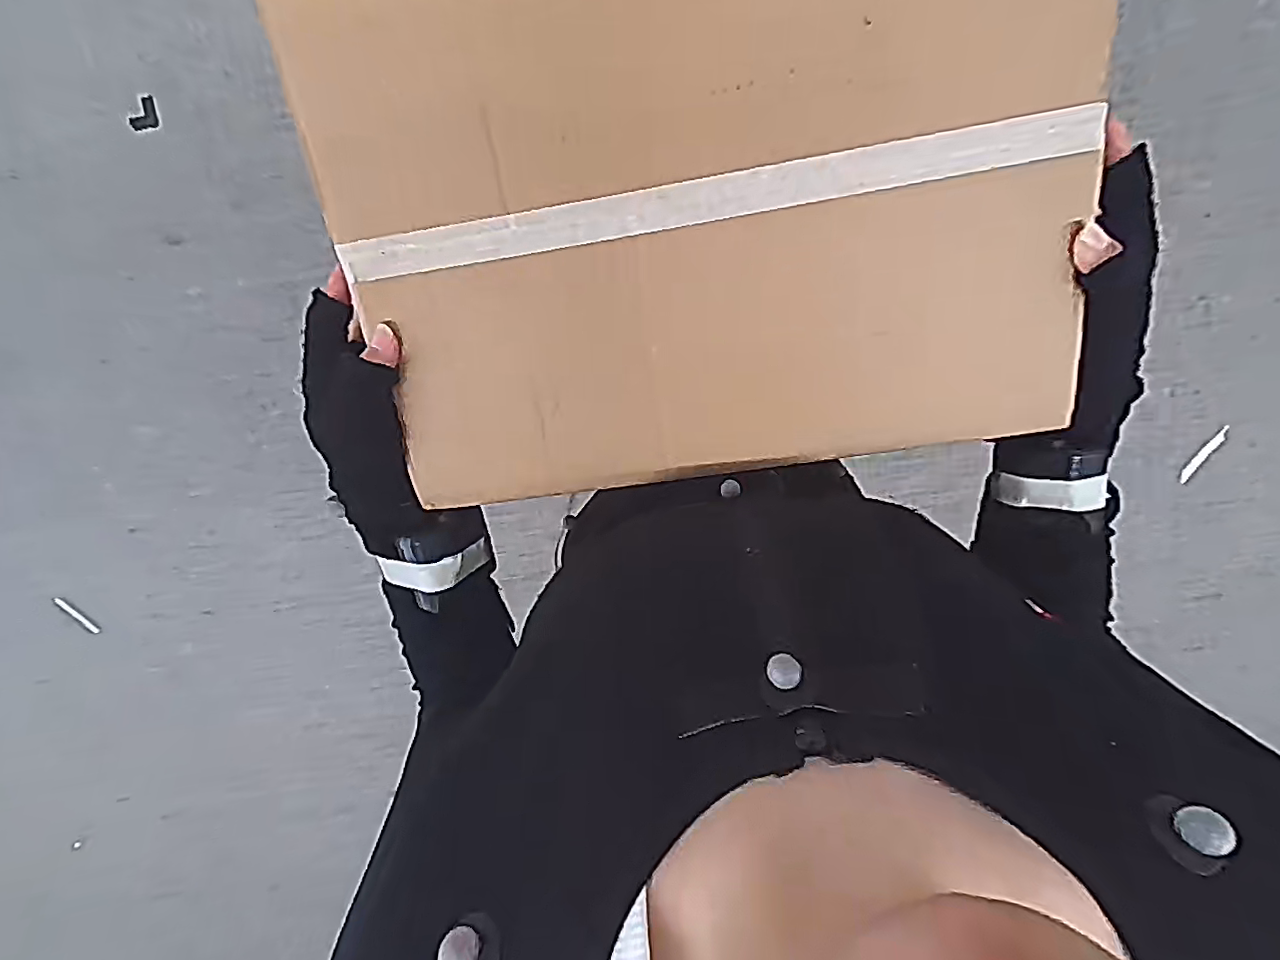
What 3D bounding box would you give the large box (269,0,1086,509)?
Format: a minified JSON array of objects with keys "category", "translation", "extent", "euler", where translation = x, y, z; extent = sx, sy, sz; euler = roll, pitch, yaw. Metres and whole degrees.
[{"category":"large box","translation":[0.036,-0.202,0.440],"extent":[0.408,0.320,0.320],"euler":[-8,110,5]}]
